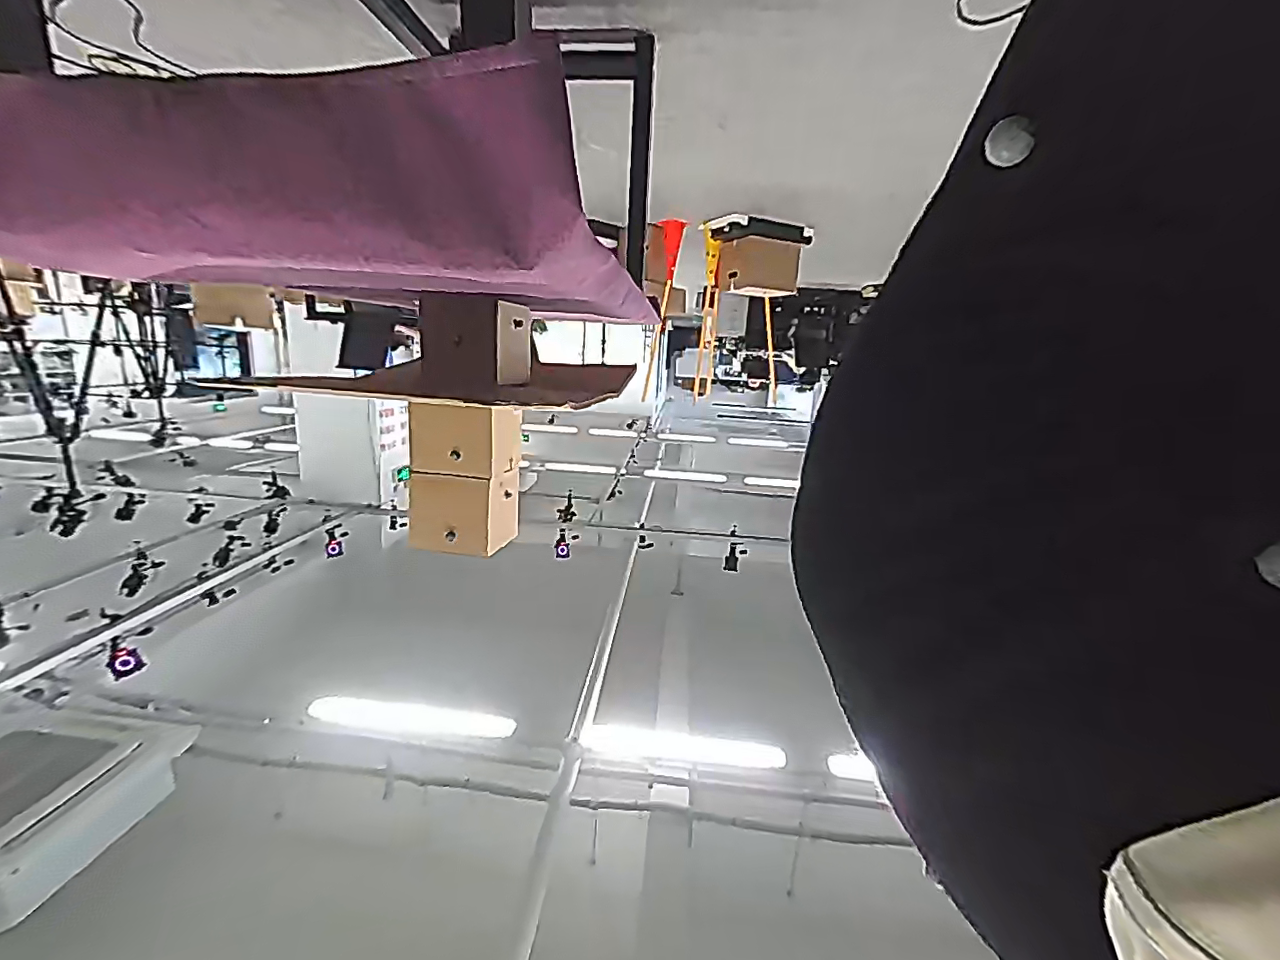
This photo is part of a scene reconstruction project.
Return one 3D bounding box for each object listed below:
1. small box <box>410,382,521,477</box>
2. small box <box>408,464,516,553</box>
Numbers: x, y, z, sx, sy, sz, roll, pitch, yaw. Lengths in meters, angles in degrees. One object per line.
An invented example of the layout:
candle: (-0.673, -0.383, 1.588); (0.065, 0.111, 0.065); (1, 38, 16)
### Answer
small box: (-0.359, -0.111, 1.125); (0.179, 0.176, 0.168); (5, -168, 7)
small box: (-0.375, 0.046, 1.161); (0.179, 0.176, 0.168); (4, -169, 8)
